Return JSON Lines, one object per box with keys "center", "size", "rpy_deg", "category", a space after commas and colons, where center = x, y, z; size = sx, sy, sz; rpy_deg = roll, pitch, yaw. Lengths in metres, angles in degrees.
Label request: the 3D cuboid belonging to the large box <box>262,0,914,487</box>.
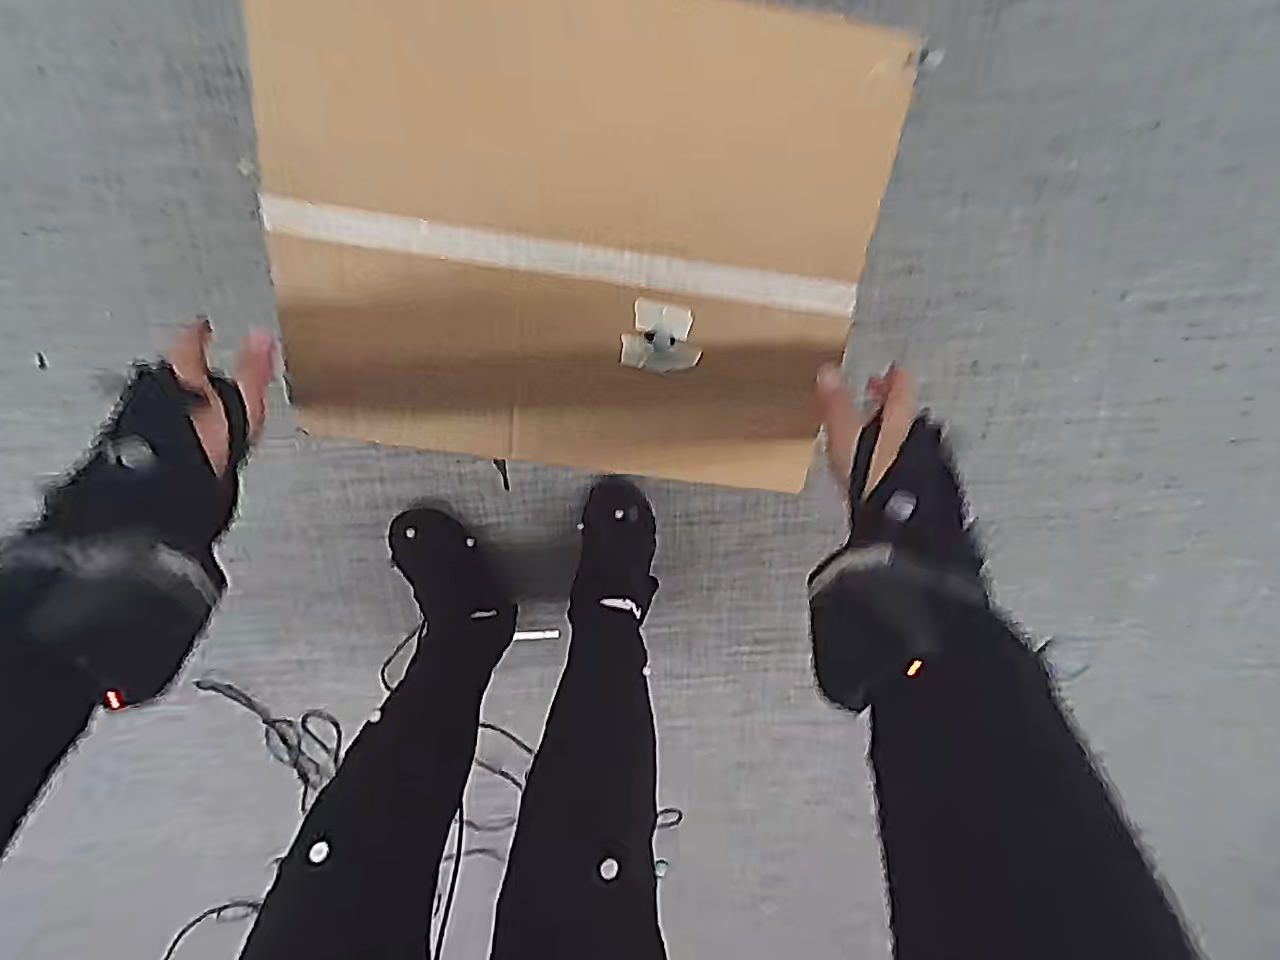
{"center": [-0.049, -0.208, 0.515], "size": [0.408, 0.320, 0.320], "rpy_deg": [6, 113, -6], "category": "large box"}
